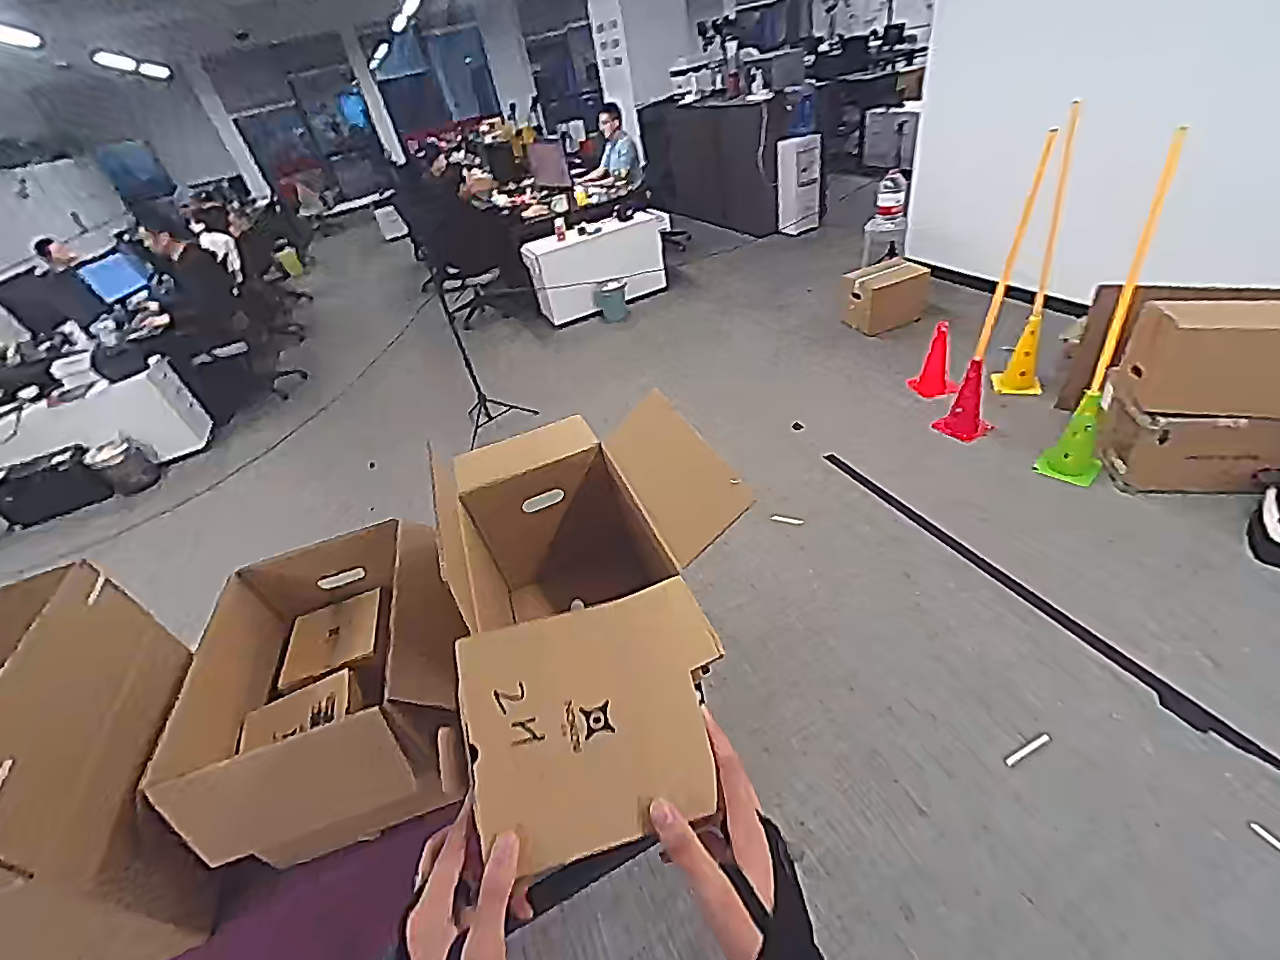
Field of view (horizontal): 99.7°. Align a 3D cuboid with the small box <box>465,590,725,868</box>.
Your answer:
[{"bbox_3d":[-0.043,0.210,0.489,0.179,0.176,0.168,-12,69,-8],"label":"small box"}]
